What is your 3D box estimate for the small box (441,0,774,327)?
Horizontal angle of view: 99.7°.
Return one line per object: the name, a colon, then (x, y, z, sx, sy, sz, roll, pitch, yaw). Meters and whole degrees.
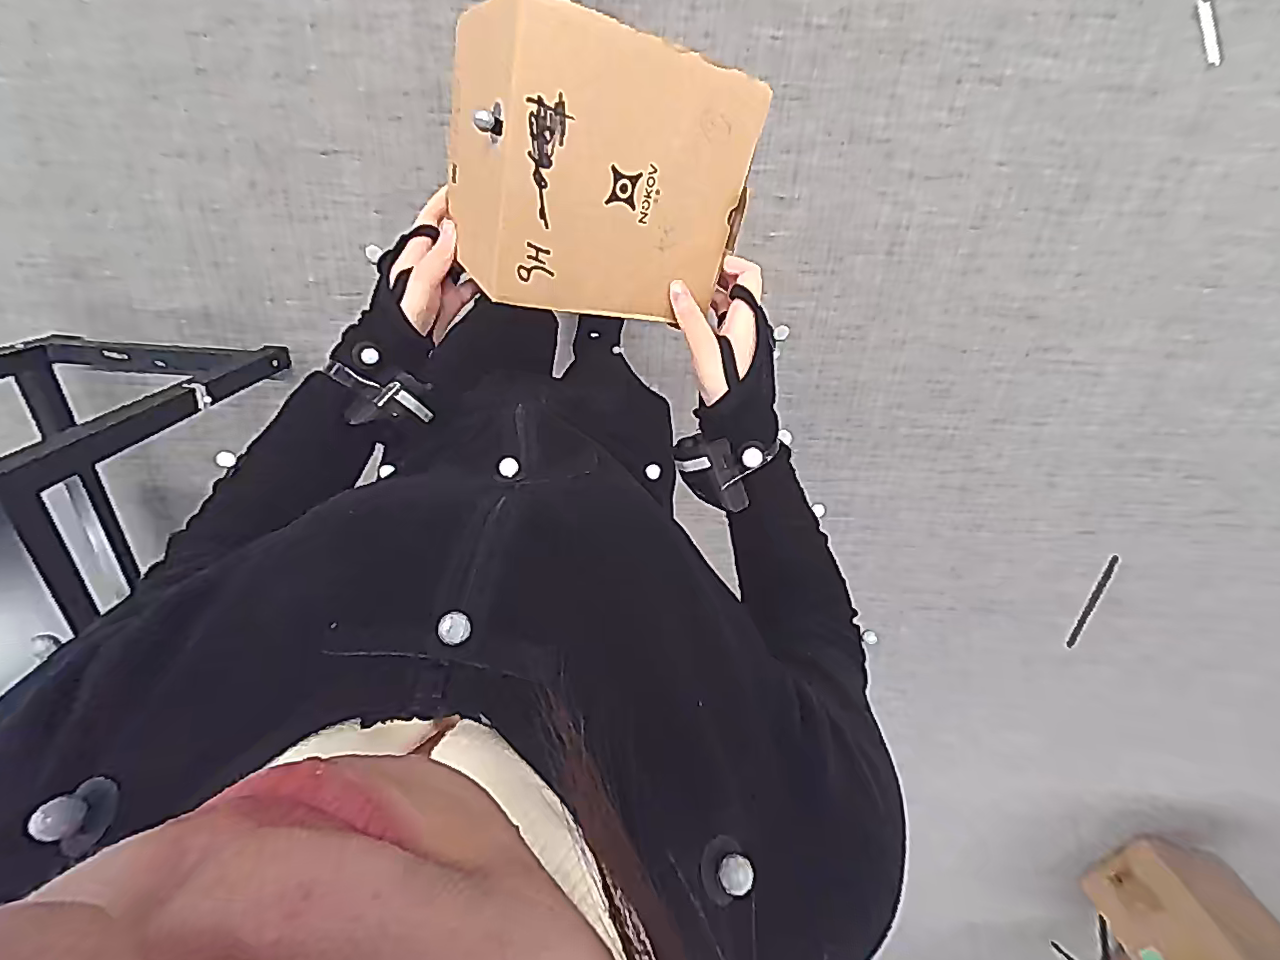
small box: (-0.039, -0.230, 0.411, 0.179, 0.176, 0.168, -2, 122, -31)
